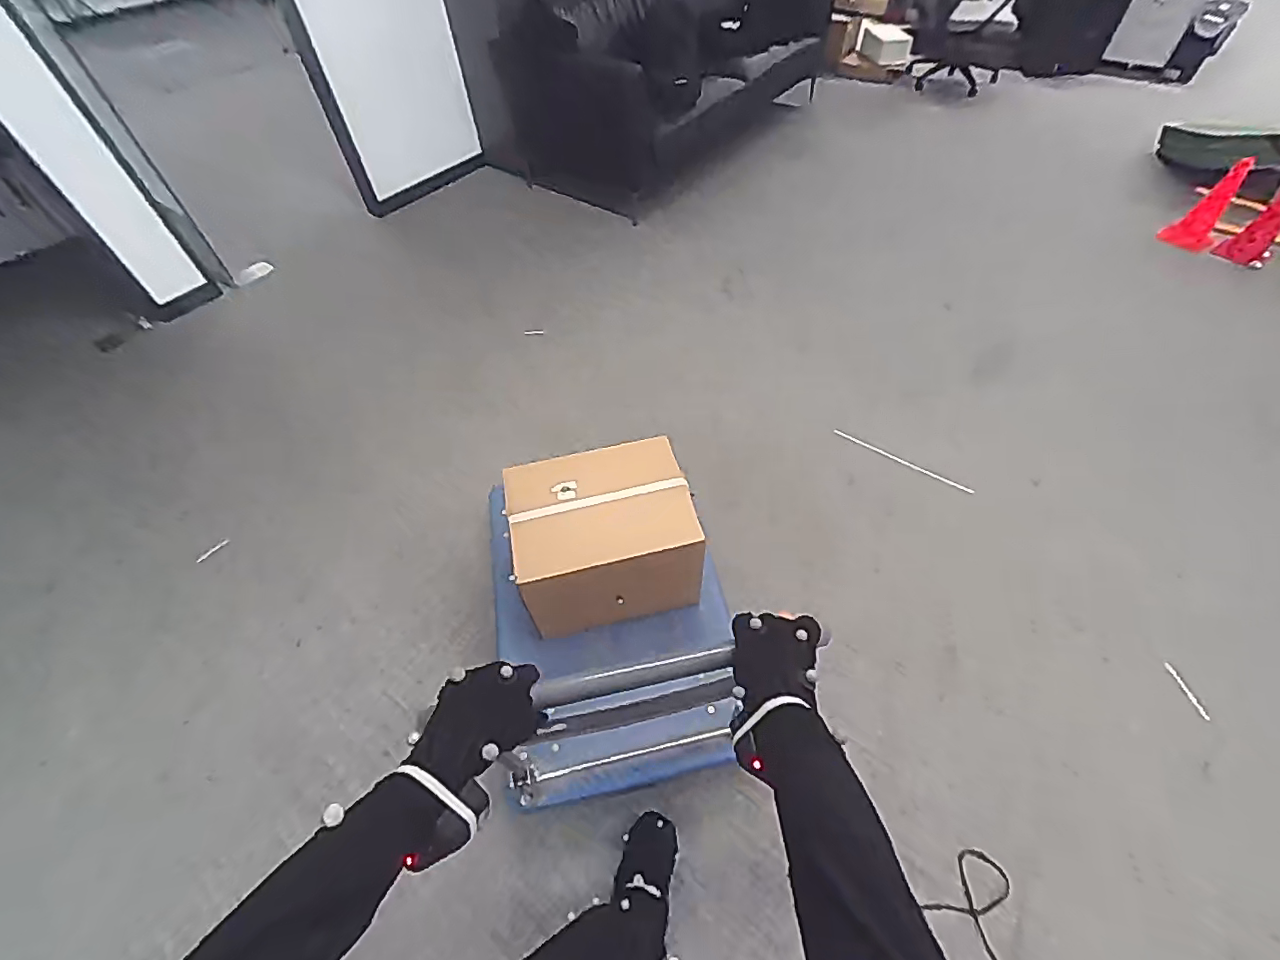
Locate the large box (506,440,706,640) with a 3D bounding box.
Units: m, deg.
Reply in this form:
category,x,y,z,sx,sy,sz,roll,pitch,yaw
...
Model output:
category,x,y,z,sx,sy,sz,roll,pitch,yaw
large box,-0.080,0.152,1.329,0.408,0.320,0.320,-13,52,-7
